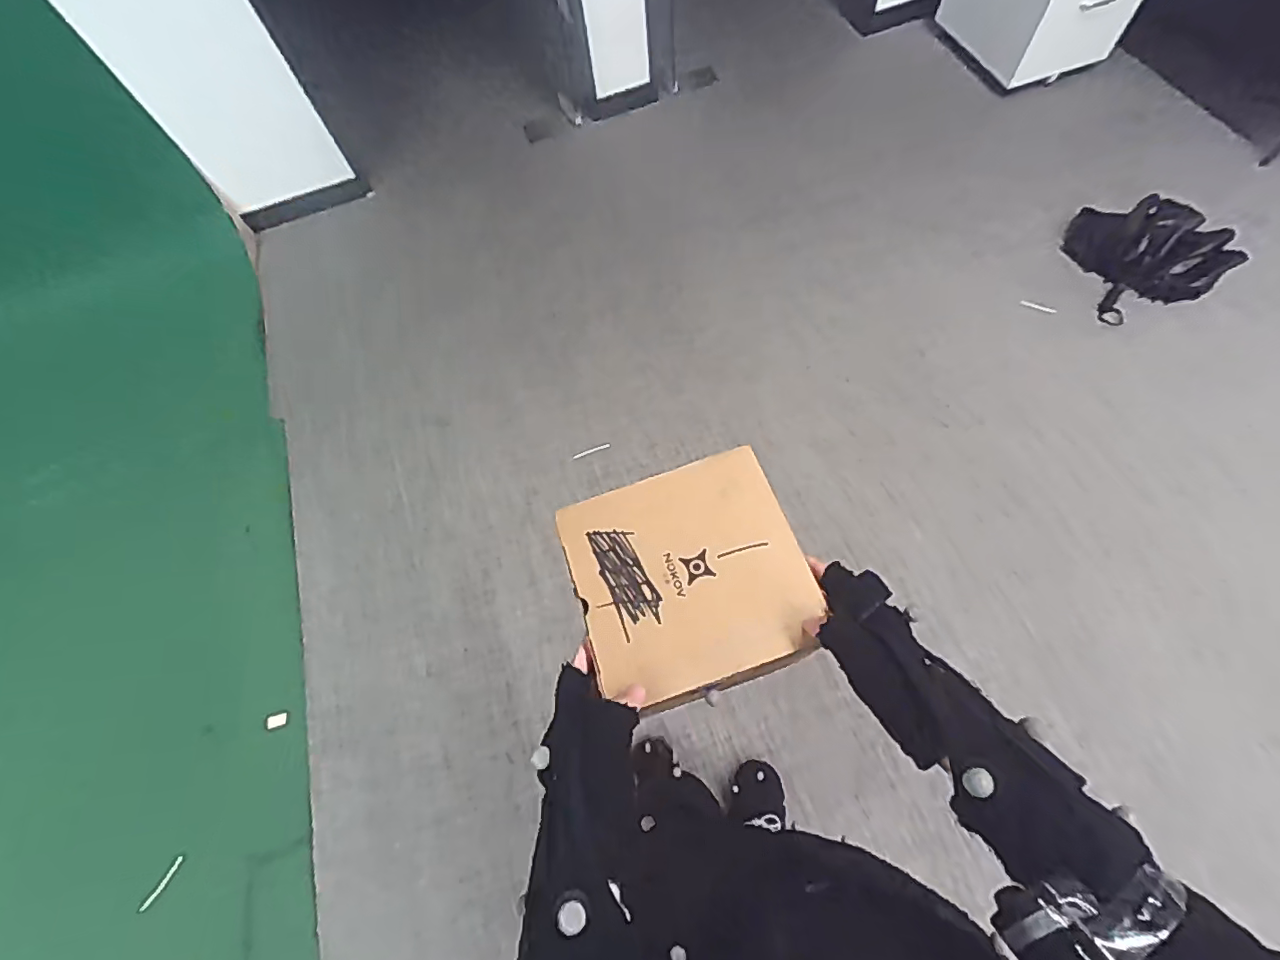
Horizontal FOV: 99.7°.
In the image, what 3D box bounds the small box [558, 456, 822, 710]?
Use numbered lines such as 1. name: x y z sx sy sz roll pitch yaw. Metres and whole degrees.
1. small box: 0.041 0.107 0.508 0.179 0.176 0.168 -18 66 -3
